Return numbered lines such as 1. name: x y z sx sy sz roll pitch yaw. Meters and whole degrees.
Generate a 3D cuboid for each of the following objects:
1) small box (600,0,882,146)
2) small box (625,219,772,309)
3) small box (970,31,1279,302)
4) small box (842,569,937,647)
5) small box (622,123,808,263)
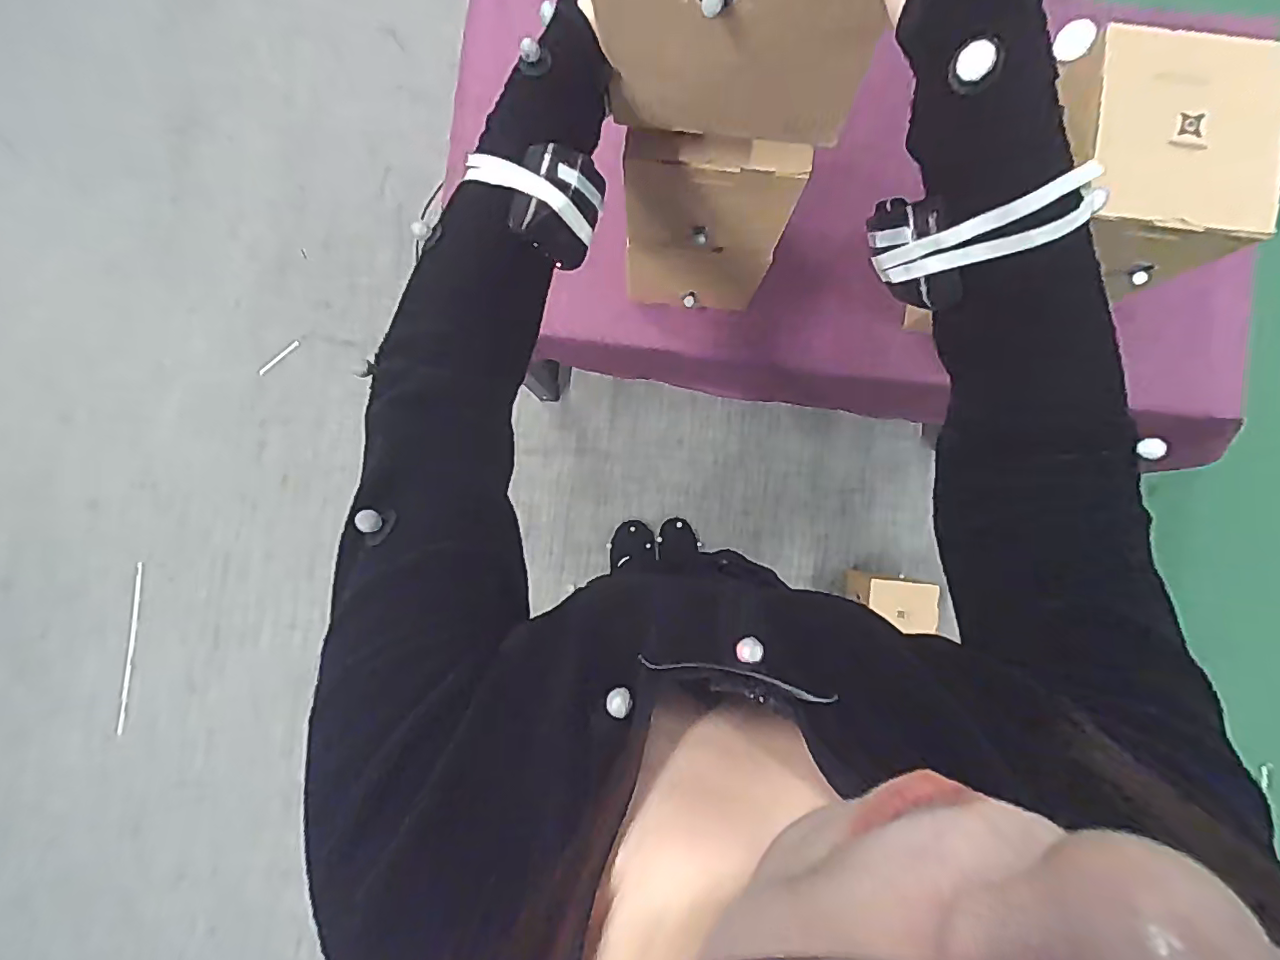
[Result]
1. small box: 0.068 -0.352 0.352 0.179 0.176 0.168 9 90 4
2. small box: 0.075 -0.342 0.725 0.179 0.176 0.168 6 87 0
3. small box: 0.474 -0.302 0.557 0.168 0.176 0.179 7 88 0
4. small box: 0.651 0.332 1.428 0.179 0.176 0.168 5 88 0
5. small box: 0.075 -0.353 0.560 0.168 0.176 0.179 7 88 1
